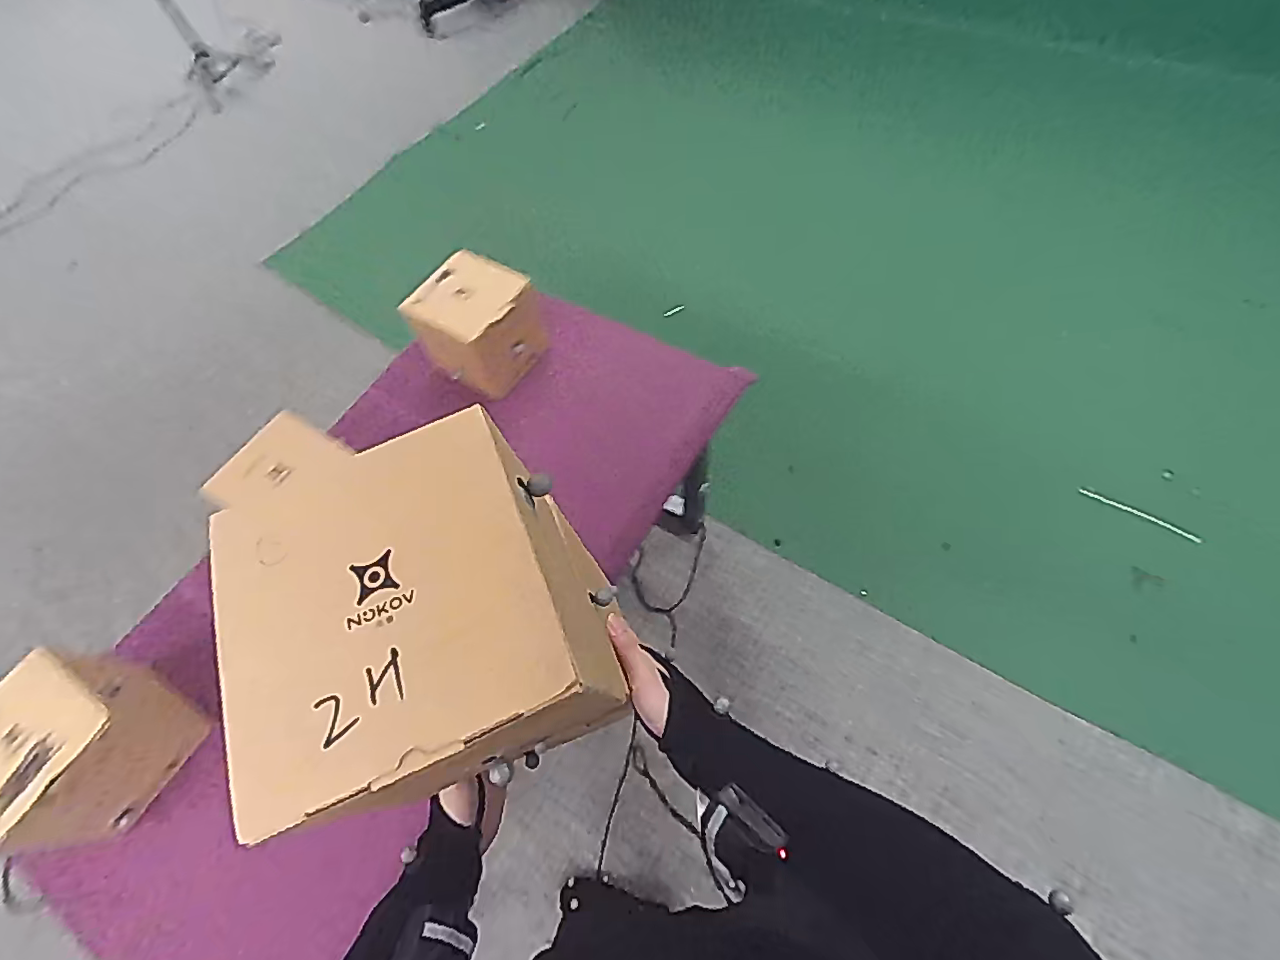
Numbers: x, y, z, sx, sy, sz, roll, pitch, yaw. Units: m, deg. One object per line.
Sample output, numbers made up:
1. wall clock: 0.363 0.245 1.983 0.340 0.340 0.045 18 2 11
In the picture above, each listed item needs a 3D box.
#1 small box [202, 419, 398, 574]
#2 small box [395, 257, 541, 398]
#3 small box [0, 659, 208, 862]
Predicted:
1. small box: -0.541 0.037 0.888 0.179 0.176 0.168 26 67 18
2. small box: -0.315 -0.282 1.031 0.179 0.176 0.168 28 68 17
3. small box: -0.752 0.369 0.732 0.179 0.176 0.168 25 67 18
